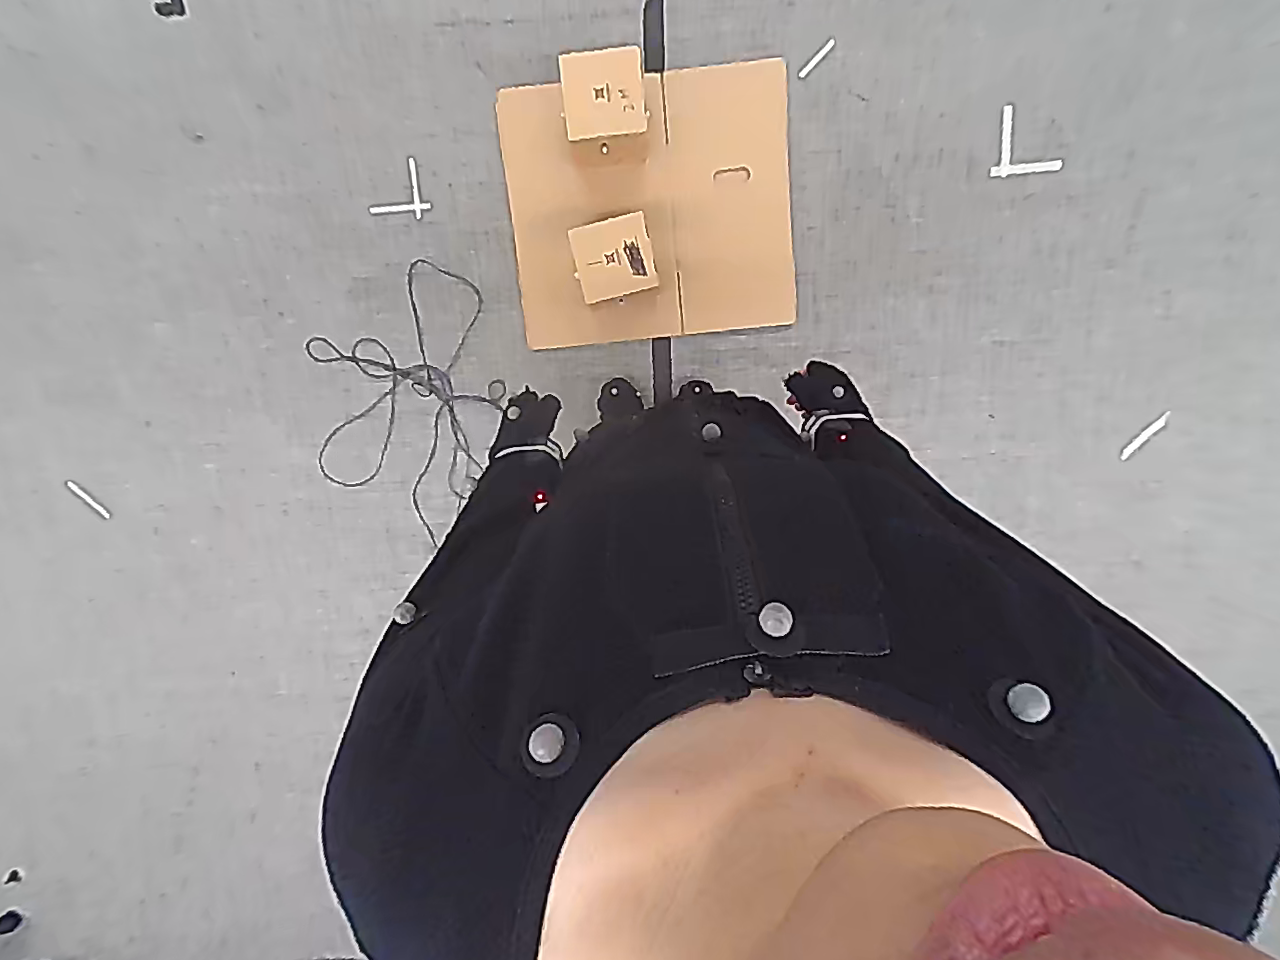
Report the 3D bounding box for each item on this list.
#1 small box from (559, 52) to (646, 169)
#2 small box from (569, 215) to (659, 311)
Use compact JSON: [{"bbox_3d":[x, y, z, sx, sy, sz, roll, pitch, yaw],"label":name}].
[{"bbox_3d":[-0.079,-0.834,1.236,0.179,0.176,0.168,-5,101,0],"label":"small box"},{"bbox_3d":[-0.059,-0.514,1.300,0.179,0.176,0.168,-14,101,3],"label":"small box"}]
